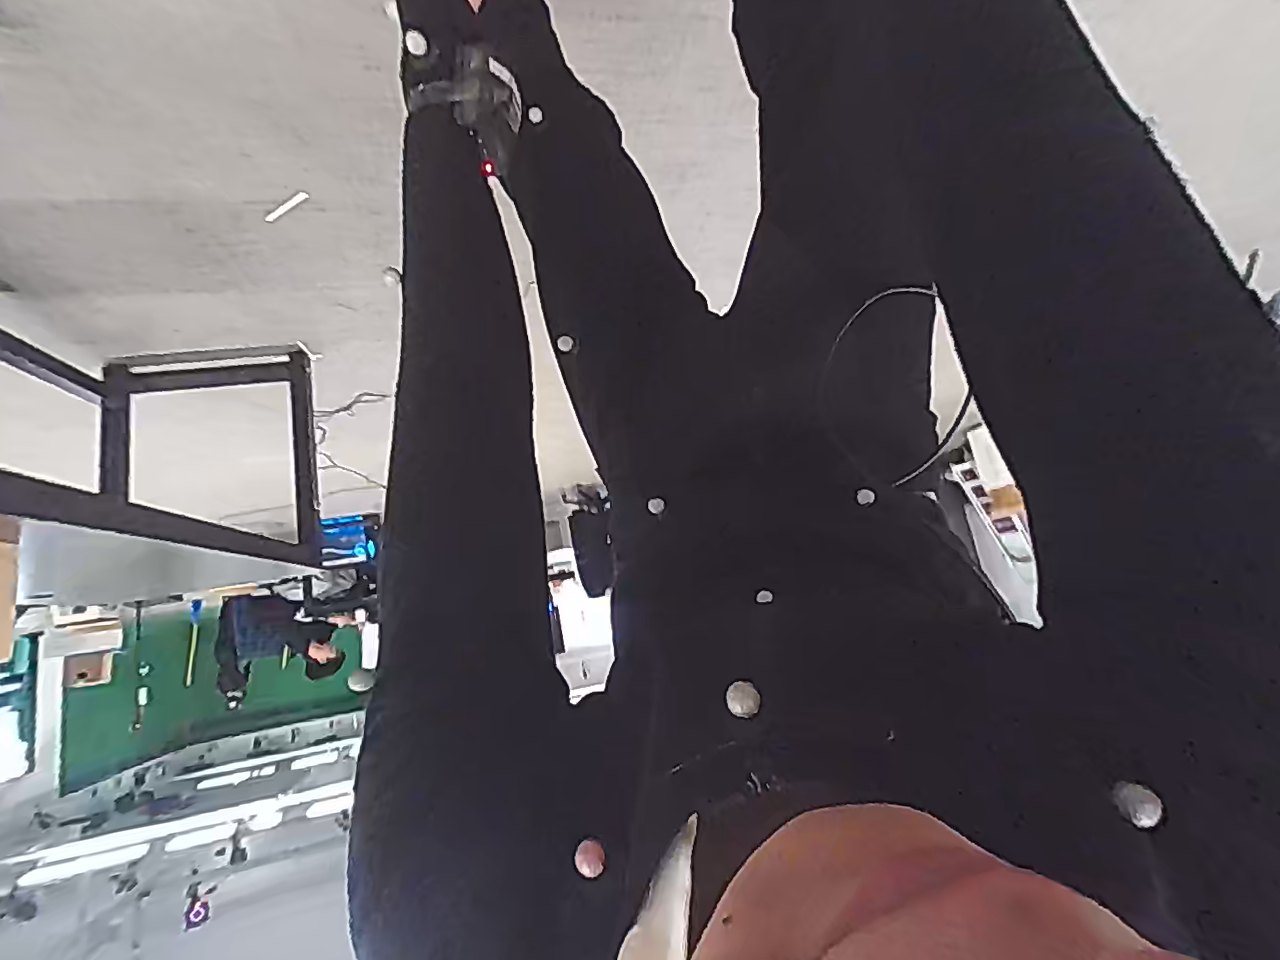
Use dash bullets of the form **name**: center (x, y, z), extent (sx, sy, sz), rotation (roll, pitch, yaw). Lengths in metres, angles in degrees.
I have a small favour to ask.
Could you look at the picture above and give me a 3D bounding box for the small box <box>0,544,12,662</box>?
- **small box**: center (-0.962, 0.162, 0.680), extent (0.179, 0.176, 0.168), rotation (-5, 169, -20)
